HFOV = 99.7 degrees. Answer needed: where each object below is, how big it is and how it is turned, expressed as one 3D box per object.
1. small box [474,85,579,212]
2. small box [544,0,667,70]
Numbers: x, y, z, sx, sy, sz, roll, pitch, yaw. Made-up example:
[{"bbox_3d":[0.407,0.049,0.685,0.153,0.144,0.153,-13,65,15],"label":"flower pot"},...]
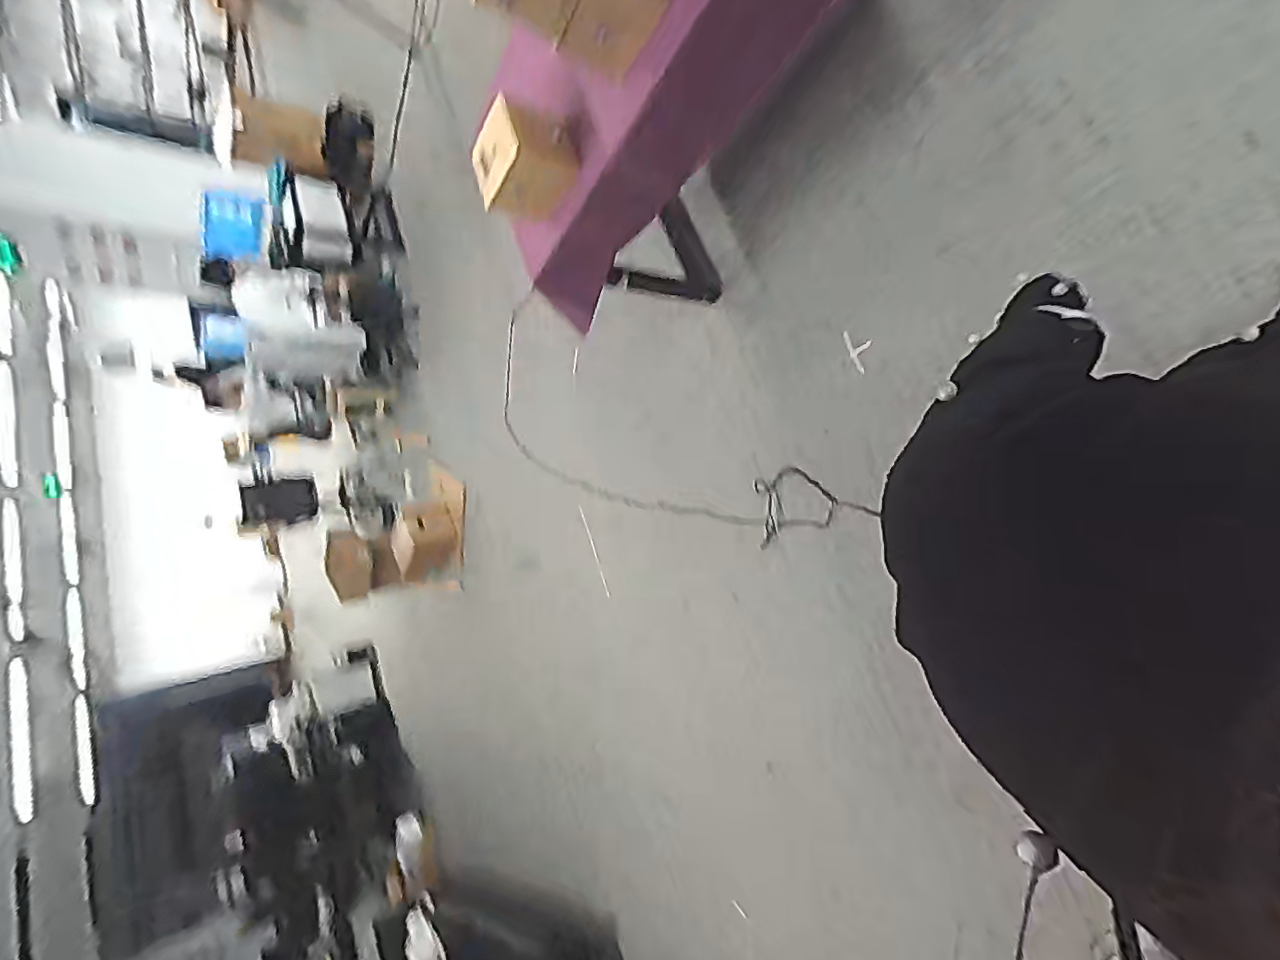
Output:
[{"bbox_3d":[-0.272,-0.780,1.296,0.179,0.176,0.168,-31,72,45],"label":"small box"},{"bbox_3d":[-0.070,-0.954,1.045,0.179,0.176,0.168,-31,72,47],"label":"small box"}]
